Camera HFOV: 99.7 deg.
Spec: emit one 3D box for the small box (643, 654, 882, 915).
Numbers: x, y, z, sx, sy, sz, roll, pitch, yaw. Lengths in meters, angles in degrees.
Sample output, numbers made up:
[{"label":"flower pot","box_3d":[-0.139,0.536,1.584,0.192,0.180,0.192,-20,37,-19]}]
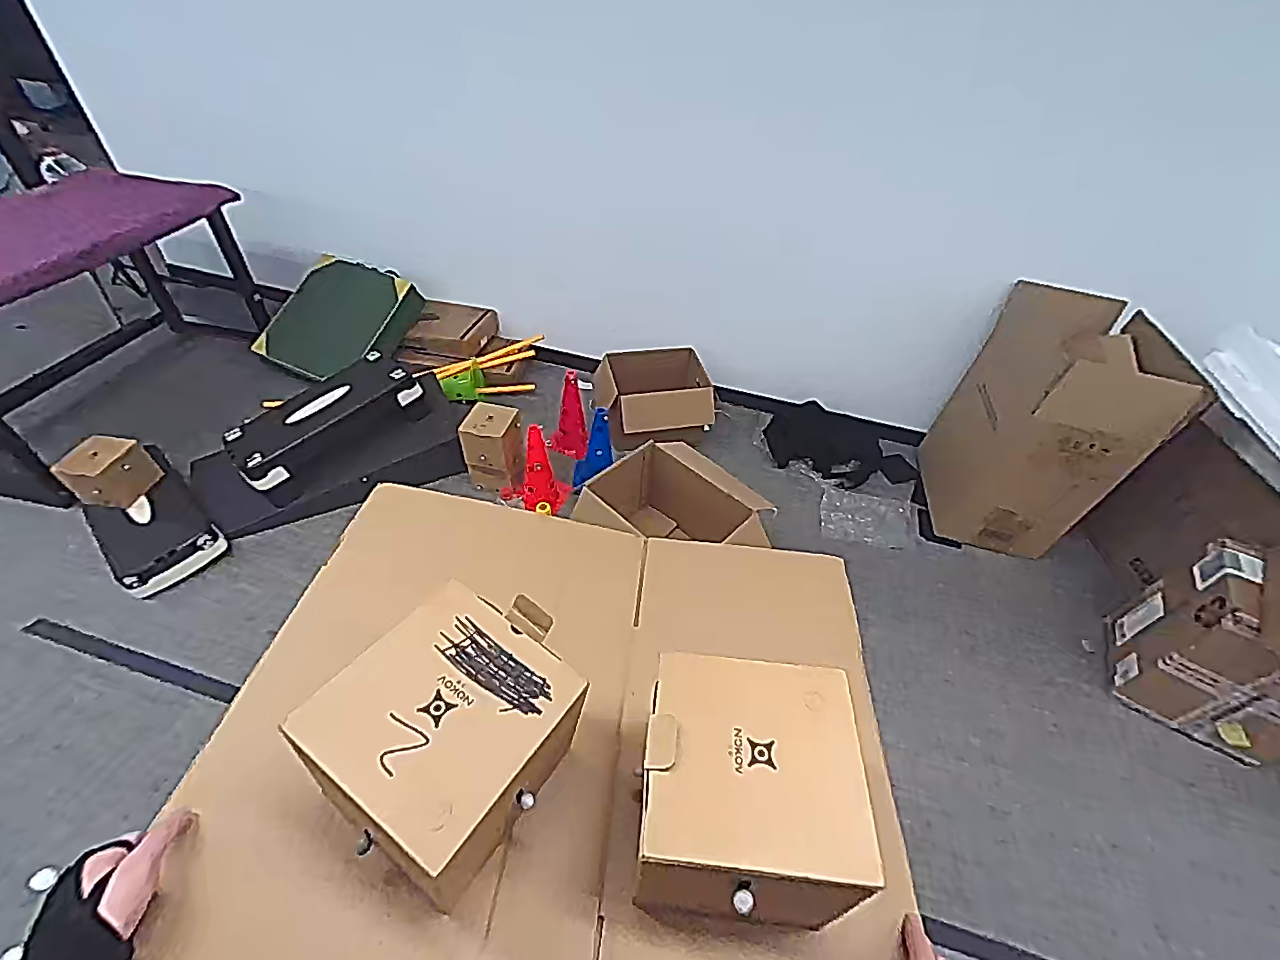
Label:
[{"label":"small box","box_3d":[0.099,0.289,0.511,0.179,0.176,0.168,4,43,4]}]
